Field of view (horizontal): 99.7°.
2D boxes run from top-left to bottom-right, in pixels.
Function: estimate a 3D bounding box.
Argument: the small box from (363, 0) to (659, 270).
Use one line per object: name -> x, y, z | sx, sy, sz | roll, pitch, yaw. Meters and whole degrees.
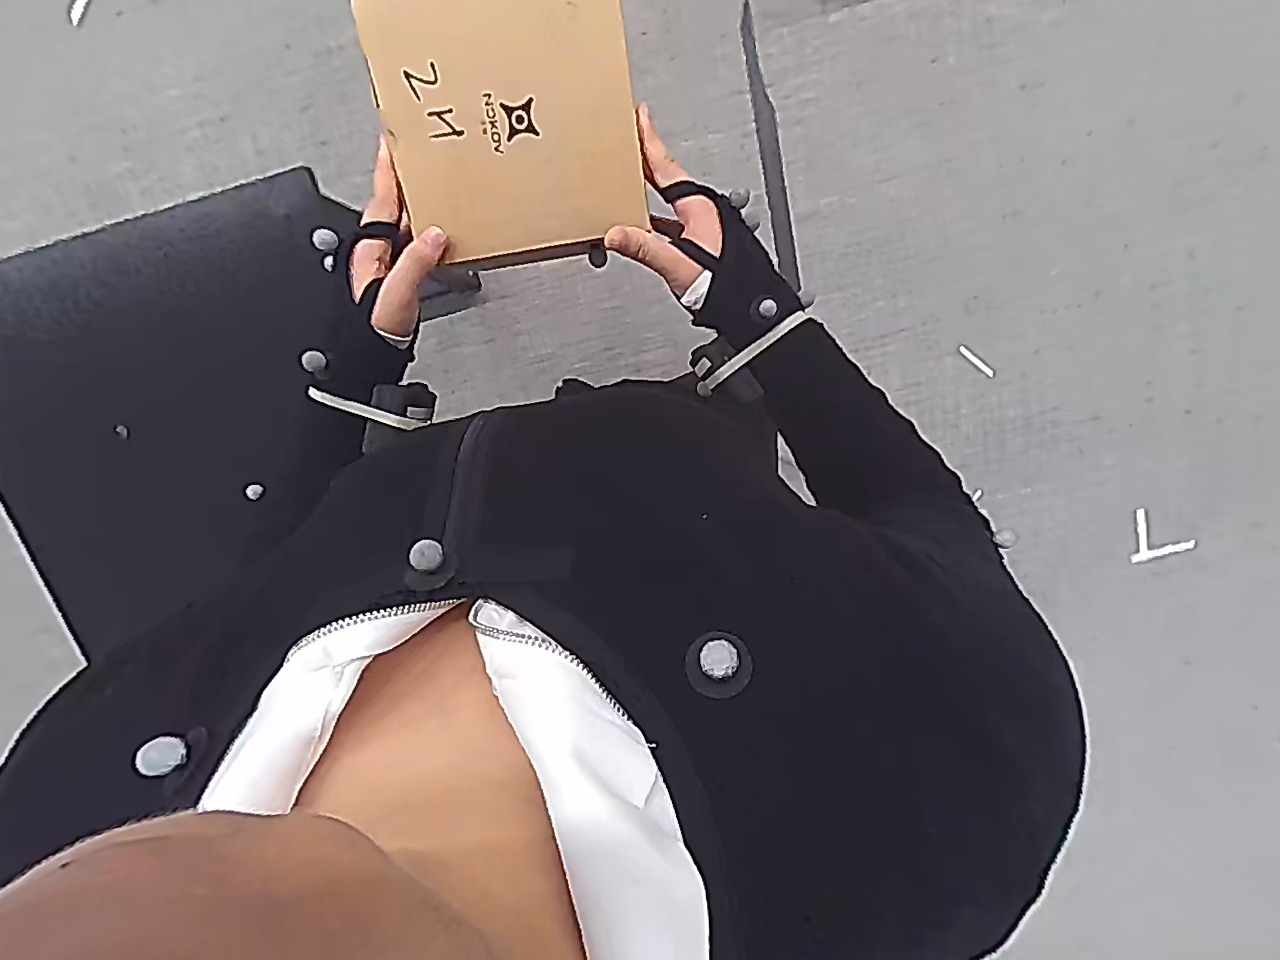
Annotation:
small box -> -0.082, -0.272, 0.445 | 0.179, 0.176, 0.168 | -7, 110, 4
